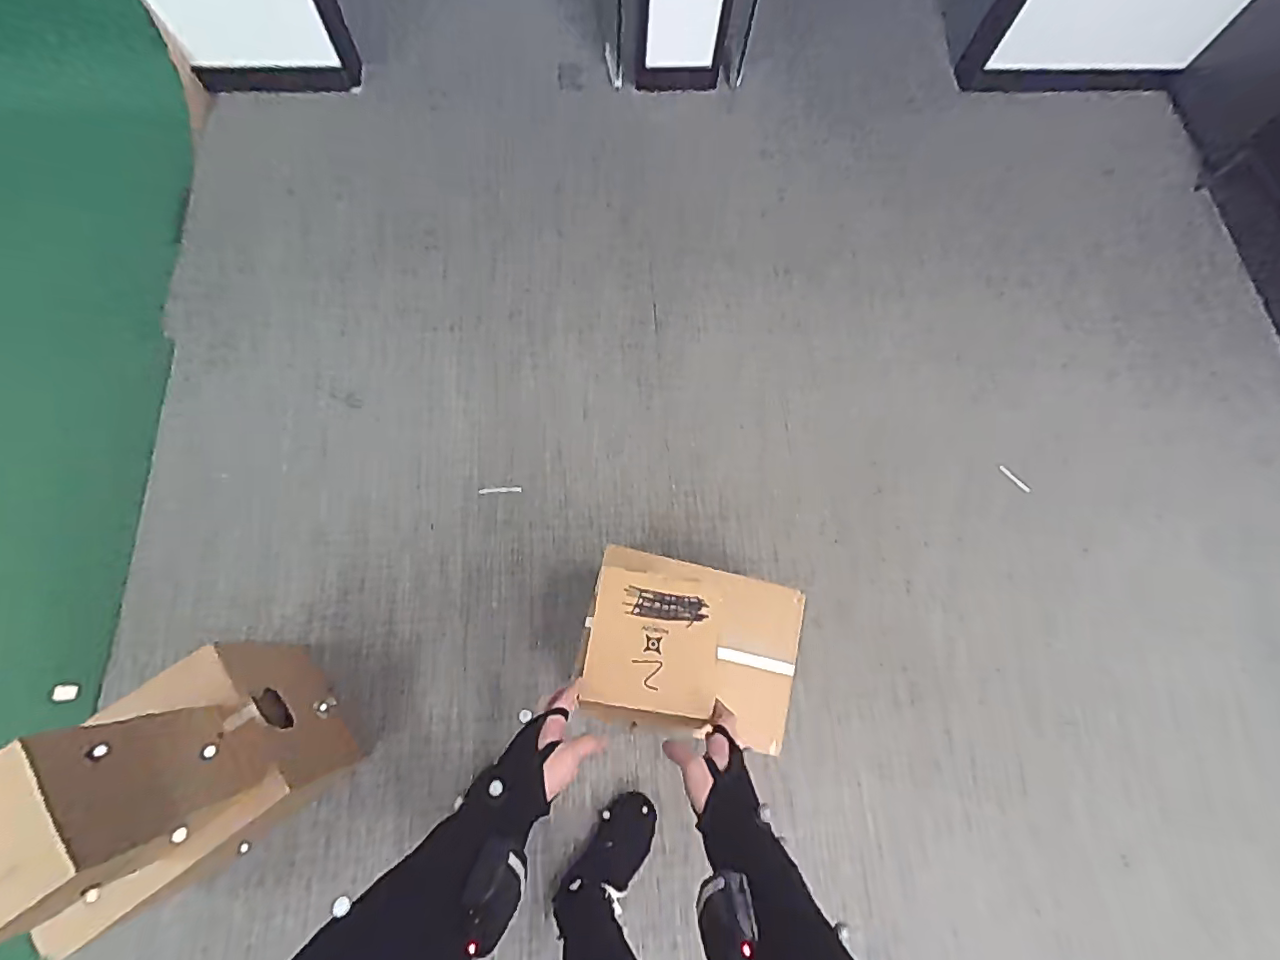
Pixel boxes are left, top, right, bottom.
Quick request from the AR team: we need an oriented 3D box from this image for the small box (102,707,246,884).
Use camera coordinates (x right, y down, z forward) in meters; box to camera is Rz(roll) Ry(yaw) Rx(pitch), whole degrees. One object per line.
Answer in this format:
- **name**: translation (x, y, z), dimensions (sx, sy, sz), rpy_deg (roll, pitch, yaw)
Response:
- **small box**: translation (-0.750, 0.471, 0.824), dimensions (0.179, 0.176, 0.168), rpy_deg (-36, 78, -14)

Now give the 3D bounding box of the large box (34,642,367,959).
- **large box**: translation (-0.840, 0.564, 1.047), dimensions (0.408, 0.320, 0.320), rpy_deg (-36, 76, -12)

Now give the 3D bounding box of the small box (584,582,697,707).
- **small box**: translation (0.000, 0.280, 0.935), dimensions (0.168, 0.176, 0.179), rpy_deg (7, 74, -2)

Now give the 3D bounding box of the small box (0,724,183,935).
- **small box**: translation (-0.734, 0.426, 0.668), dimensions (0.168, 0.176, 0.179), rpy_deg (-34, 78, -12)
